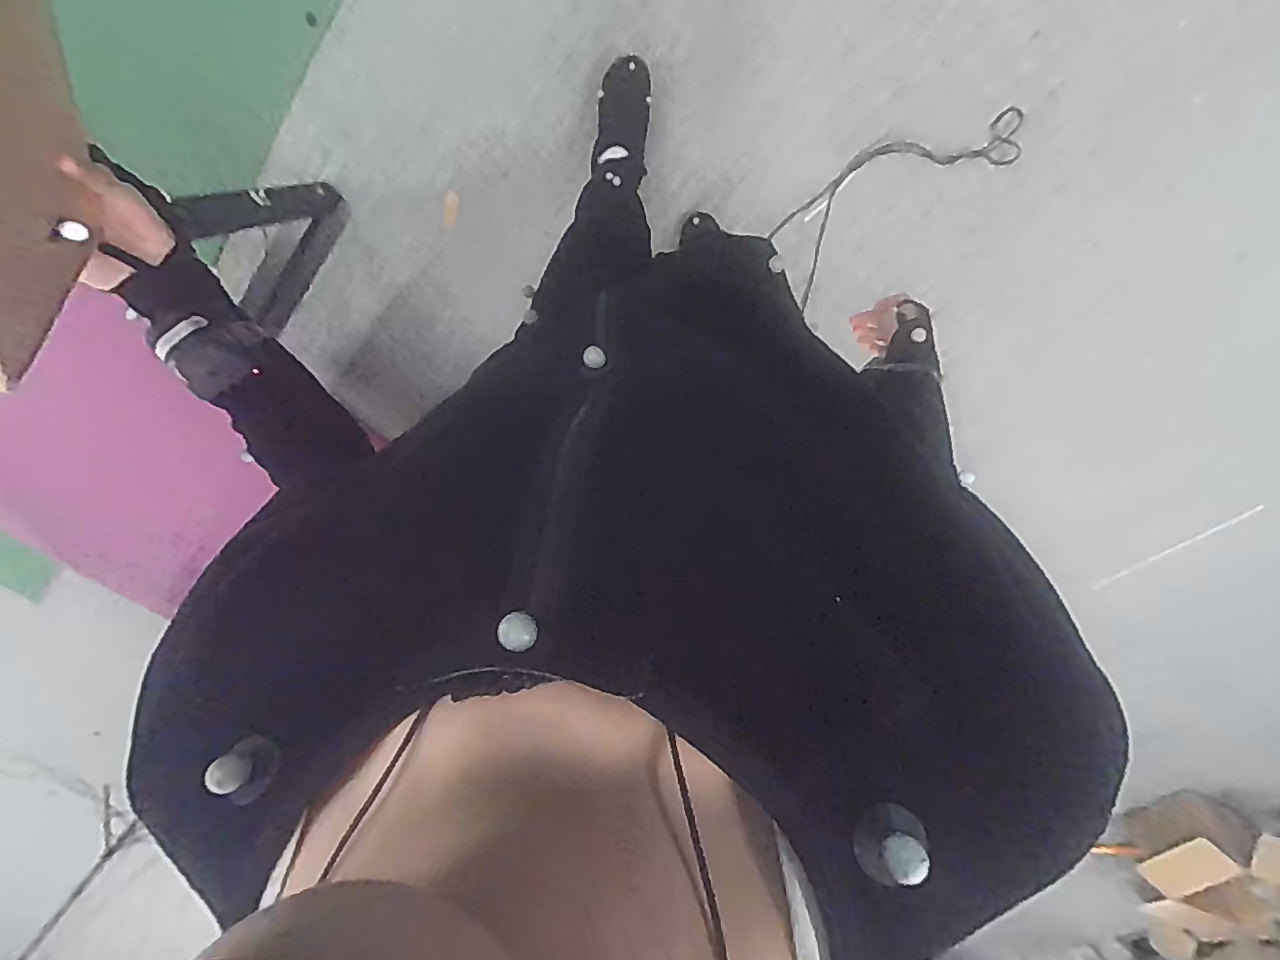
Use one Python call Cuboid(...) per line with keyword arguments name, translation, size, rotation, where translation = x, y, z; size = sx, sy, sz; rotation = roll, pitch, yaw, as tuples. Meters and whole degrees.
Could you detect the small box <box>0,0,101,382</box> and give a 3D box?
Cuboid(name="small box", translation=(-0.384, -0.174, 0.238), size=(0.168, 0.179, 0.176), rotation=(4, 140, -31))
